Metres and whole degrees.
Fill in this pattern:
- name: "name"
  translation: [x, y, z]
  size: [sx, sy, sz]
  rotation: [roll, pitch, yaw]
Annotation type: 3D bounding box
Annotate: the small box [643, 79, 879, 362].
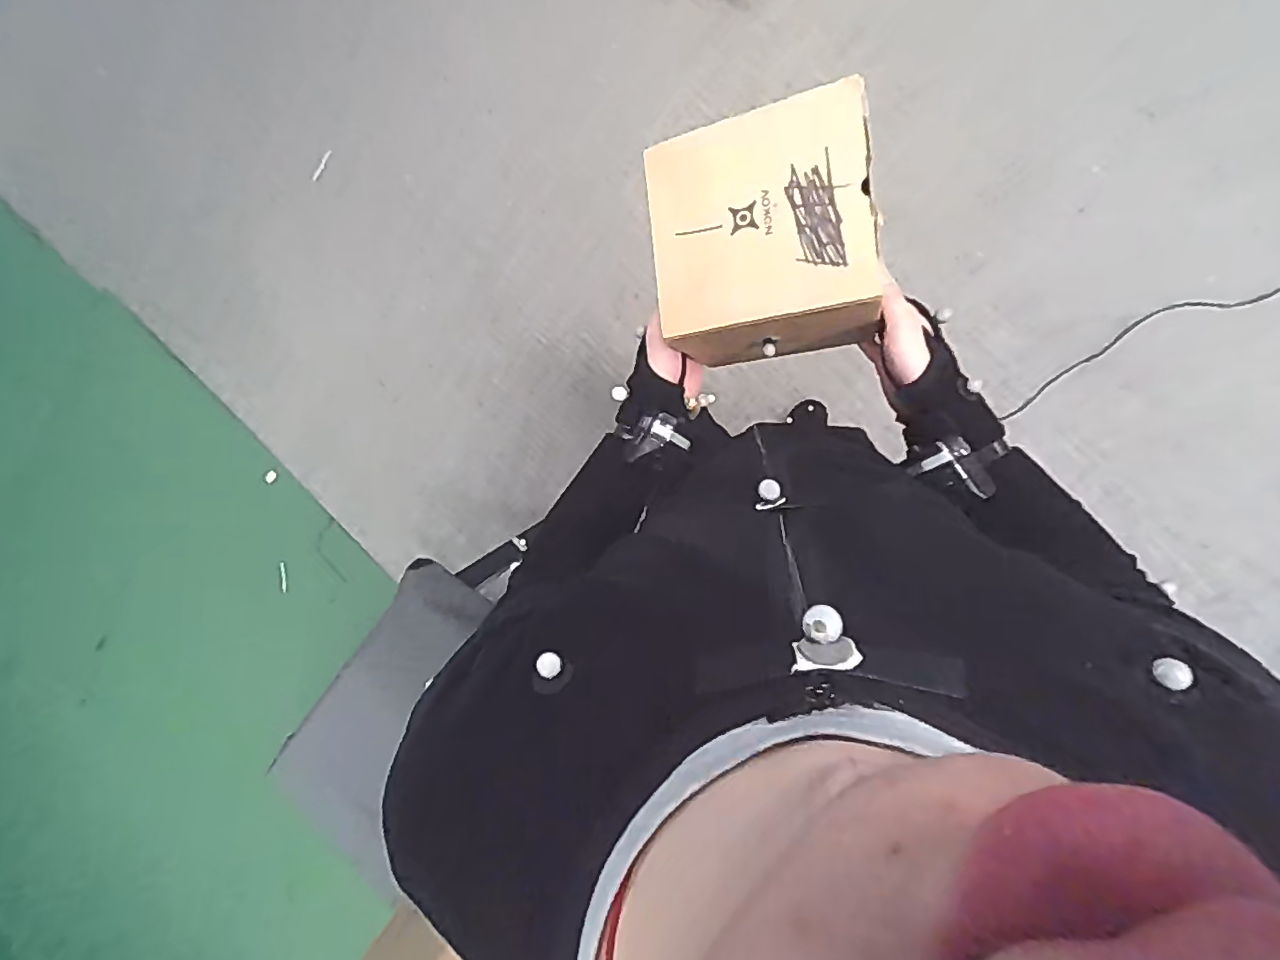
- name: "small box"
  translation: [0.118, -0.213, 0.504]
  size: [0.179, 0.176, 0.168]
  rotation: [-5, 91, 22]
